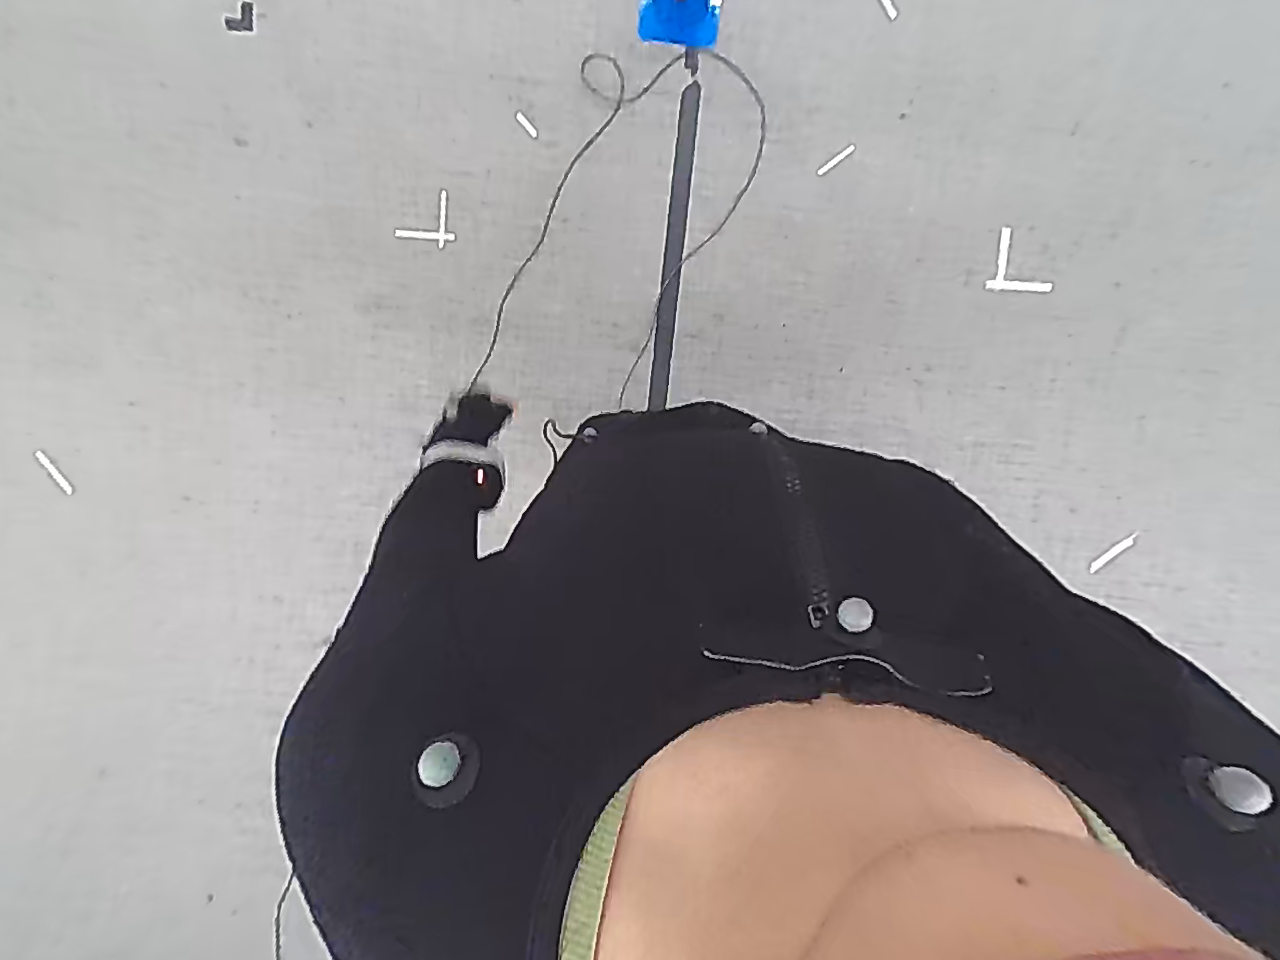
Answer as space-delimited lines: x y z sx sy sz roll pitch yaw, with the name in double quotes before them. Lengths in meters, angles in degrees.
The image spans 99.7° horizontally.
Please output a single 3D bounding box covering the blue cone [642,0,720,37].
"blue cone" 0.100 -1.155 1.144 0.193 0.380 0.192 4 98 0
